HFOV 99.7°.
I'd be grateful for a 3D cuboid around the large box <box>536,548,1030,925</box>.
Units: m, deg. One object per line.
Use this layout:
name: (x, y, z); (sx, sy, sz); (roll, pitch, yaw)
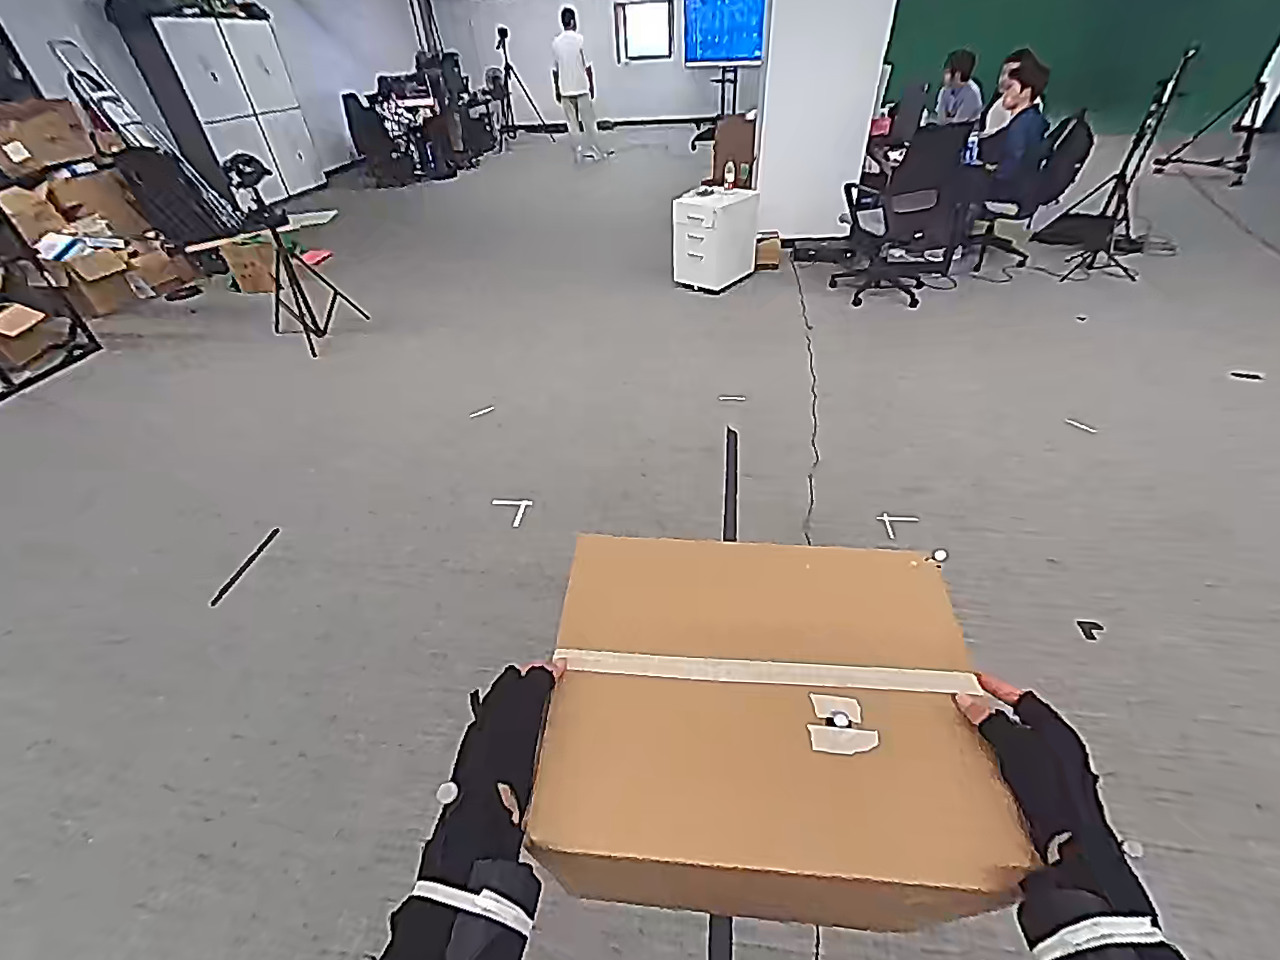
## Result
large box: (0.123, 0.302, 0.642); (0.408, 0.320, 0.320); (2, 47, 5)
